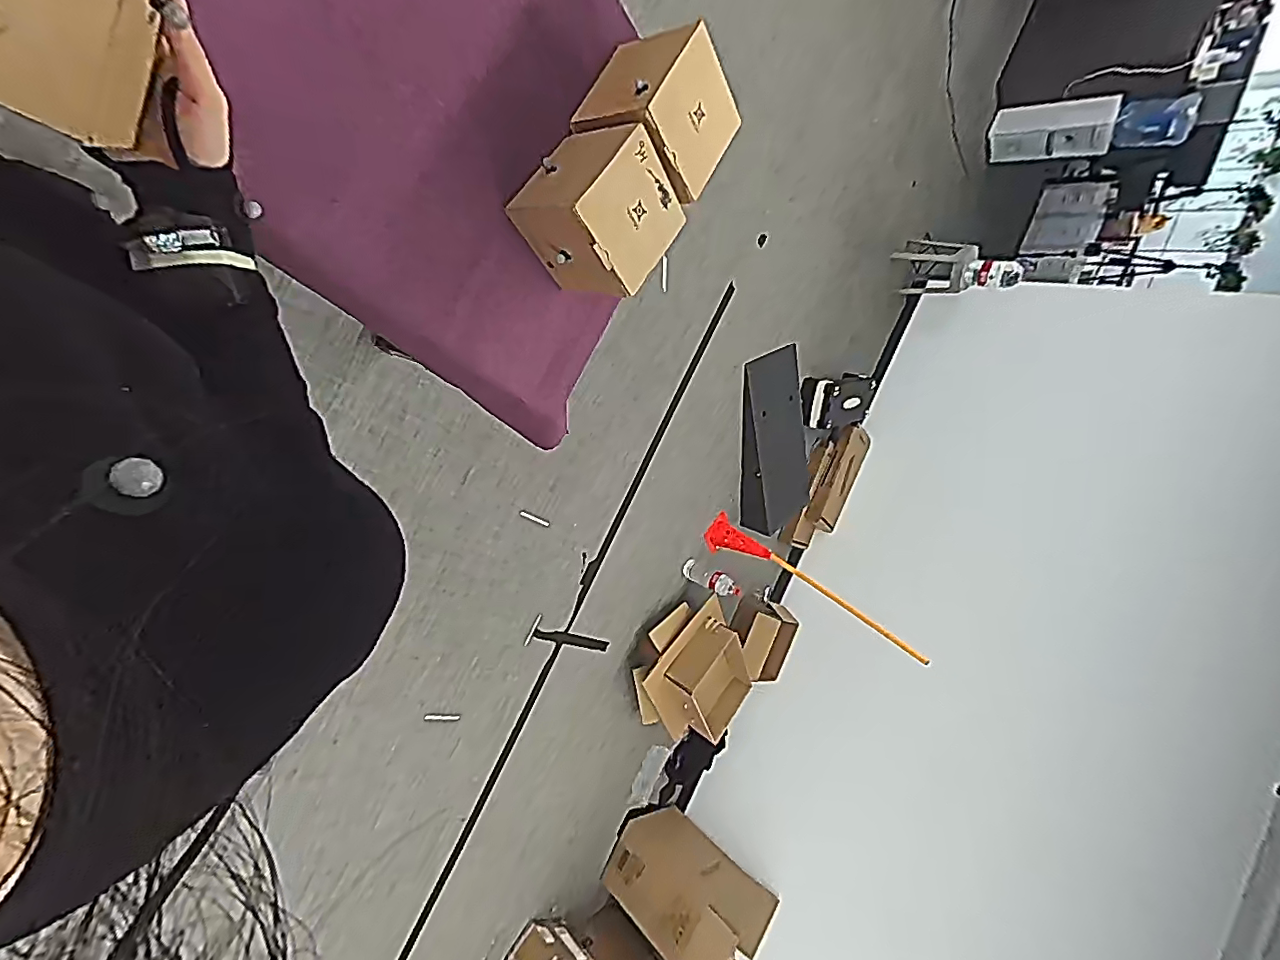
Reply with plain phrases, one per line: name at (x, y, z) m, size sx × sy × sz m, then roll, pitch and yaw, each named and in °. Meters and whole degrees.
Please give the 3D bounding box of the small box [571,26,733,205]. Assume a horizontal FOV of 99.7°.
small box at (0.019, -0.579, 0.880) m, size 0.168 × 0.176 × 0.179 m, roll 40°, pitch 75°, yaw -51°

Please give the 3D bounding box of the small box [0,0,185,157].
small box at (-0.320, -0.280, 0.243) m, size 0.168 × 0.176 × 0.179 m, roll 16°, pitch 105°, yaw -43°
